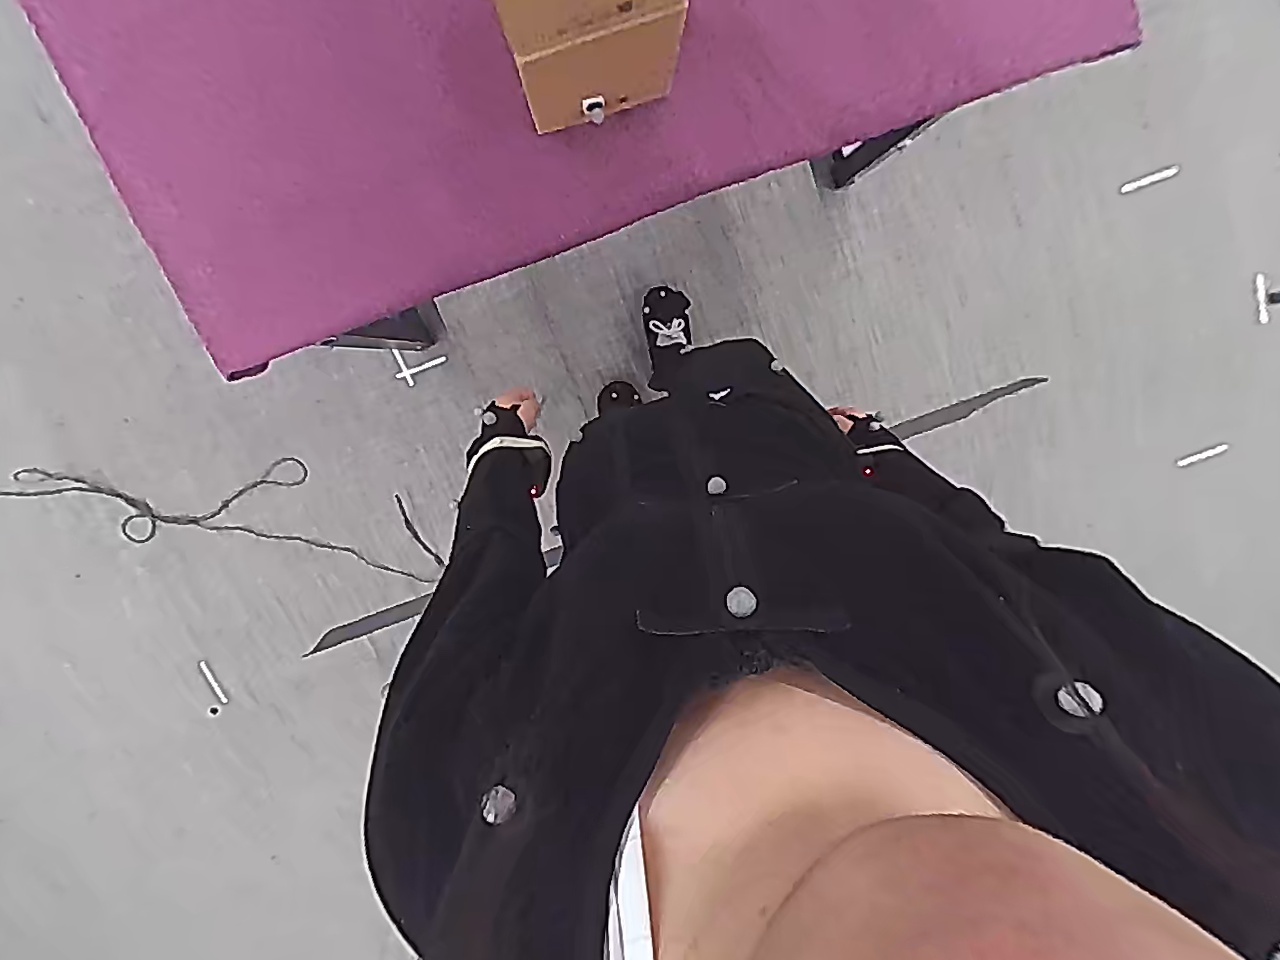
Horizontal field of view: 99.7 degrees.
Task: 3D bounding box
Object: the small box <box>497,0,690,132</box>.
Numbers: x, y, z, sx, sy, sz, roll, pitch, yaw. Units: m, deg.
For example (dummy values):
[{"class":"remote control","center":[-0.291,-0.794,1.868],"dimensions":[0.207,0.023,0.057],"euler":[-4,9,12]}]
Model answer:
[{"class":"small box","center":[-0.061,-0.500,0.549],"dimensions":[0.168,0.176,0.179],"euler":[-18,103,1]}]
